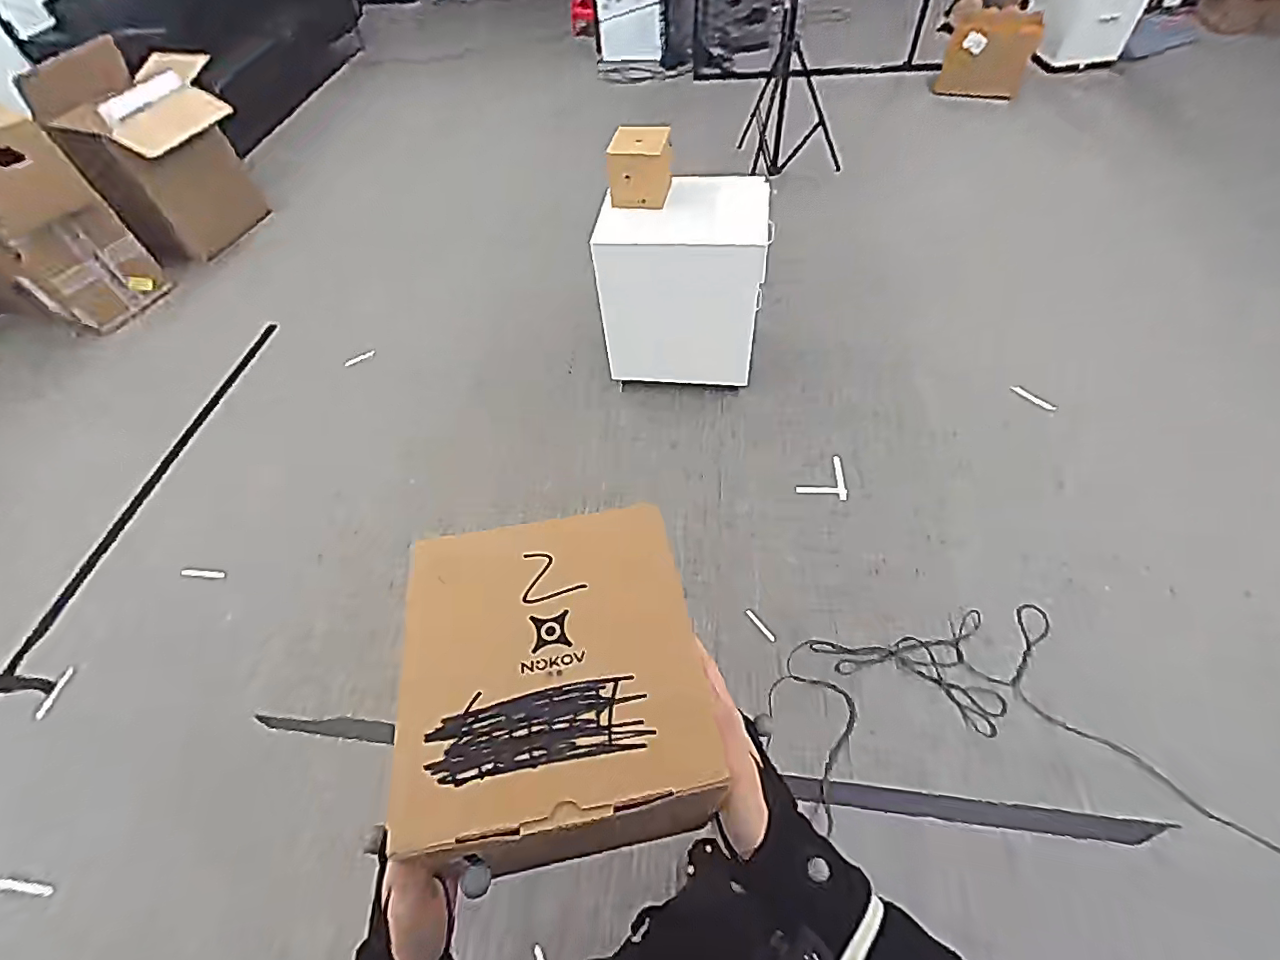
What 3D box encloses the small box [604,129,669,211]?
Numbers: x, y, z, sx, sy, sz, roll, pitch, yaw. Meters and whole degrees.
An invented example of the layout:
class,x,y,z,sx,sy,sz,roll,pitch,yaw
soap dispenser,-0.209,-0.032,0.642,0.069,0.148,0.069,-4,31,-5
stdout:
class,x,y,z,sx,sy,sz,roll,pitch,yaw
small box,-0.003,-0.957,1.674,0.168,0.176,0.179,7,55,10
